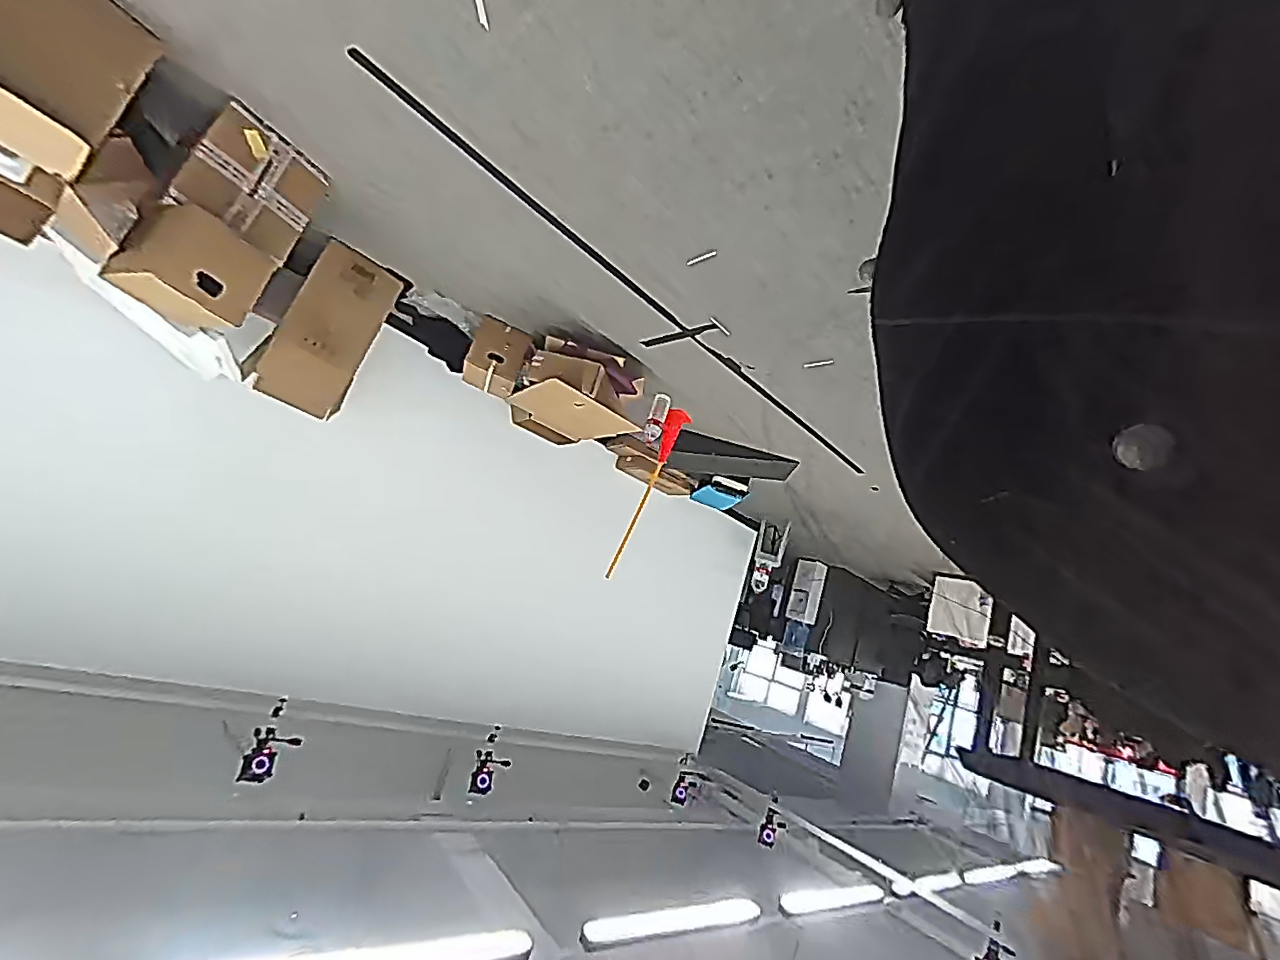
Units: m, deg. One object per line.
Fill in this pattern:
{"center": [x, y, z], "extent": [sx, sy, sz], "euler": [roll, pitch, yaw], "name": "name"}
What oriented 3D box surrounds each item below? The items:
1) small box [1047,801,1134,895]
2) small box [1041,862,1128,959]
{"center": [1.303, 1.048, 1.559], "extent": [0.179, 0.176, 0.168], "euler": [28, 163, -38], "name": "small box"}
{"center": [1.255, 1.201, 1.524], "extent": [0.179, 0.176, 0.168], "euler": [28, 163, -39], "name": "small box"}
